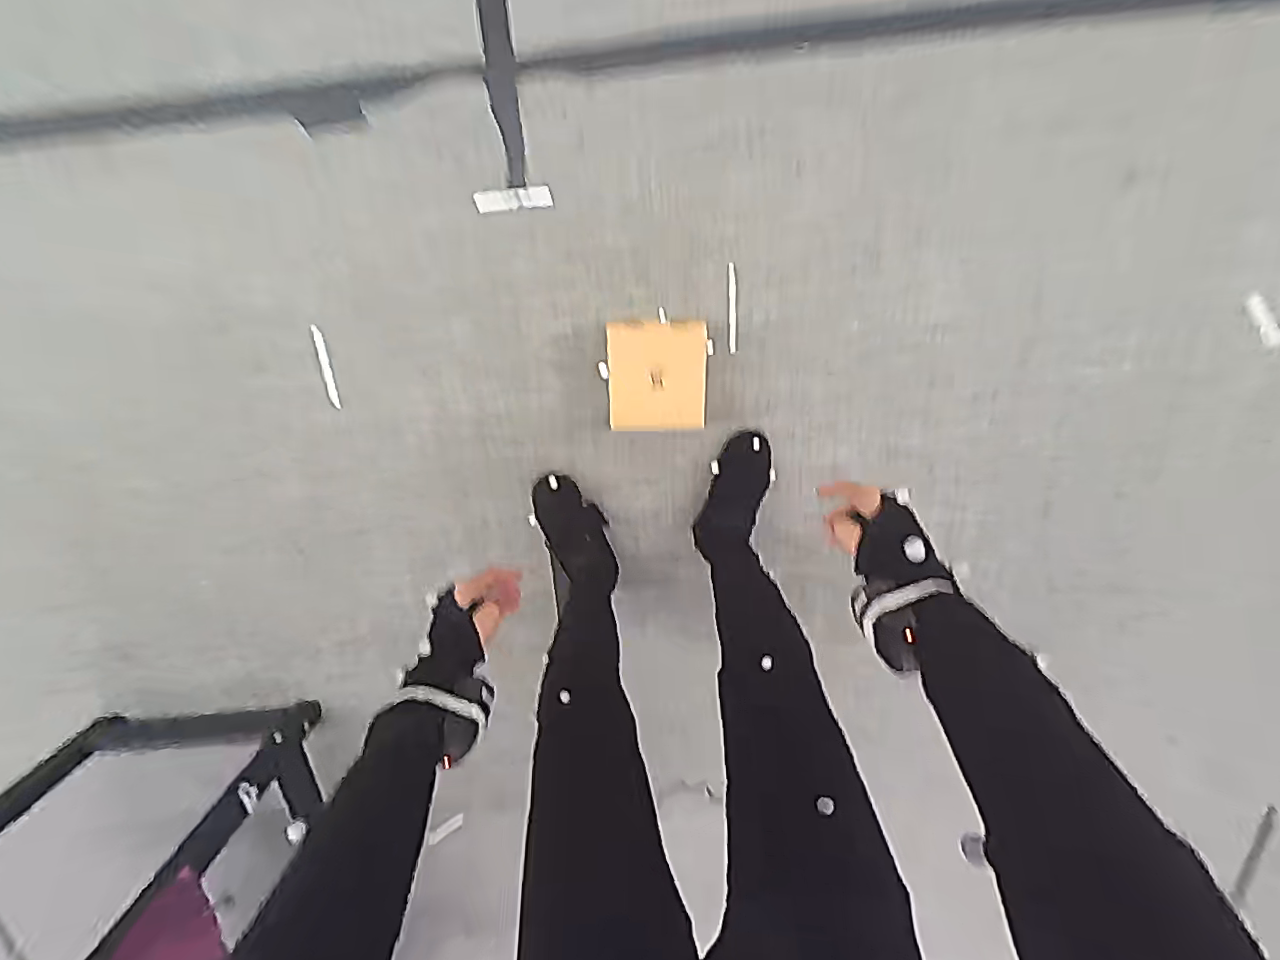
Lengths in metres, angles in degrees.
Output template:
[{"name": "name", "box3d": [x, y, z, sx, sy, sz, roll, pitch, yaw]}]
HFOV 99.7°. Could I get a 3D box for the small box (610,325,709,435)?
[{"name": "small box", "box3d": [0.033, -0.188, 0.995, 0.168, 0.176, 0.179, 0, 109, 0]}]
